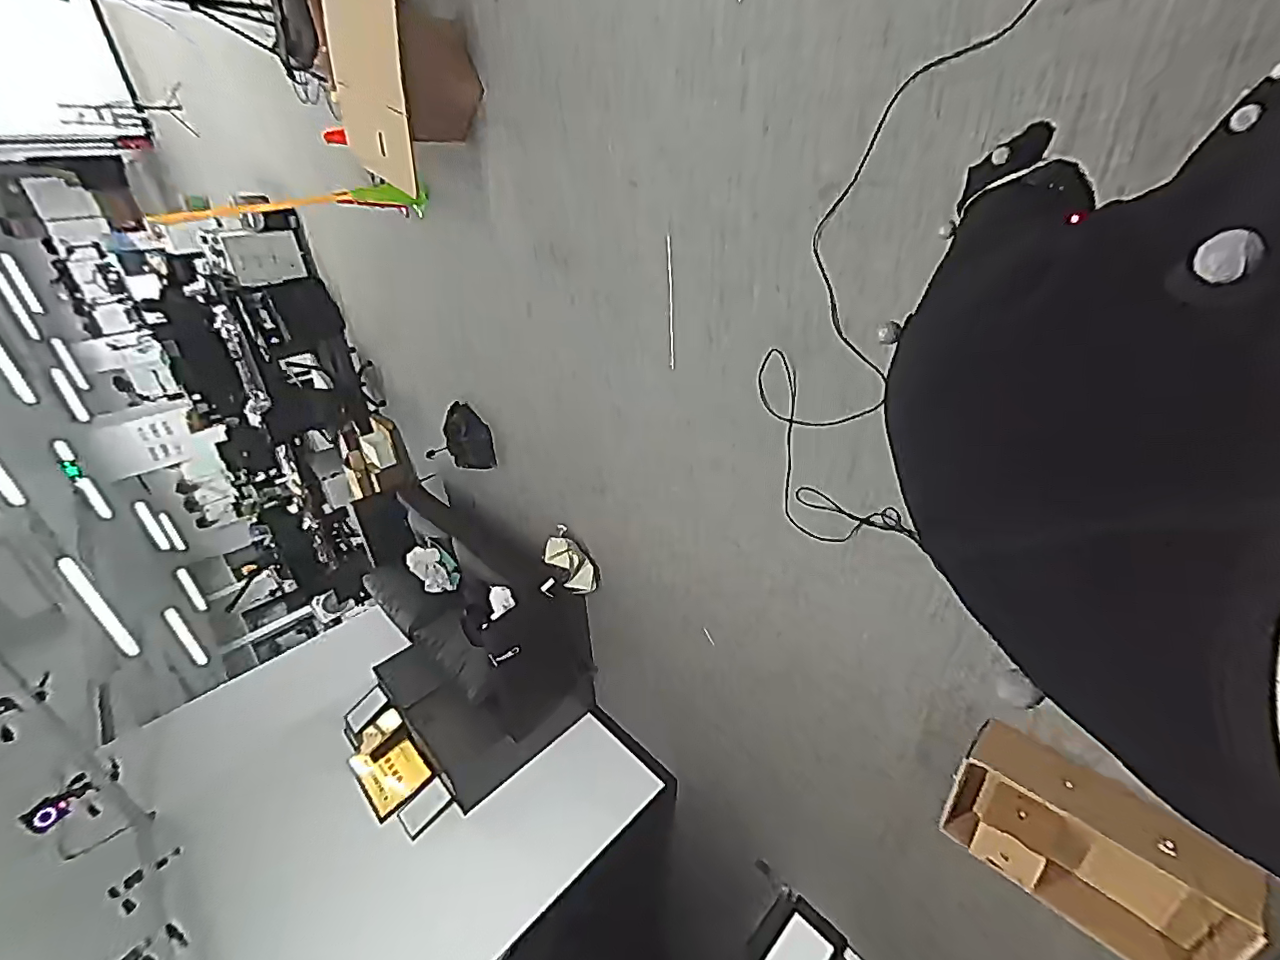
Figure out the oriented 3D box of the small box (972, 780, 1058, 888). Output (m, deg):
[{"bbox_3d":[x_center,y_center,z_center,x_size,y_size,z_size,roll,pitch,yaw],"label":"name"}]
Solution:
[{"bbox_3d":[1.126,1.052,1.622,0.168,0.176,0.179,18,127,41],"label":"small box"}]
